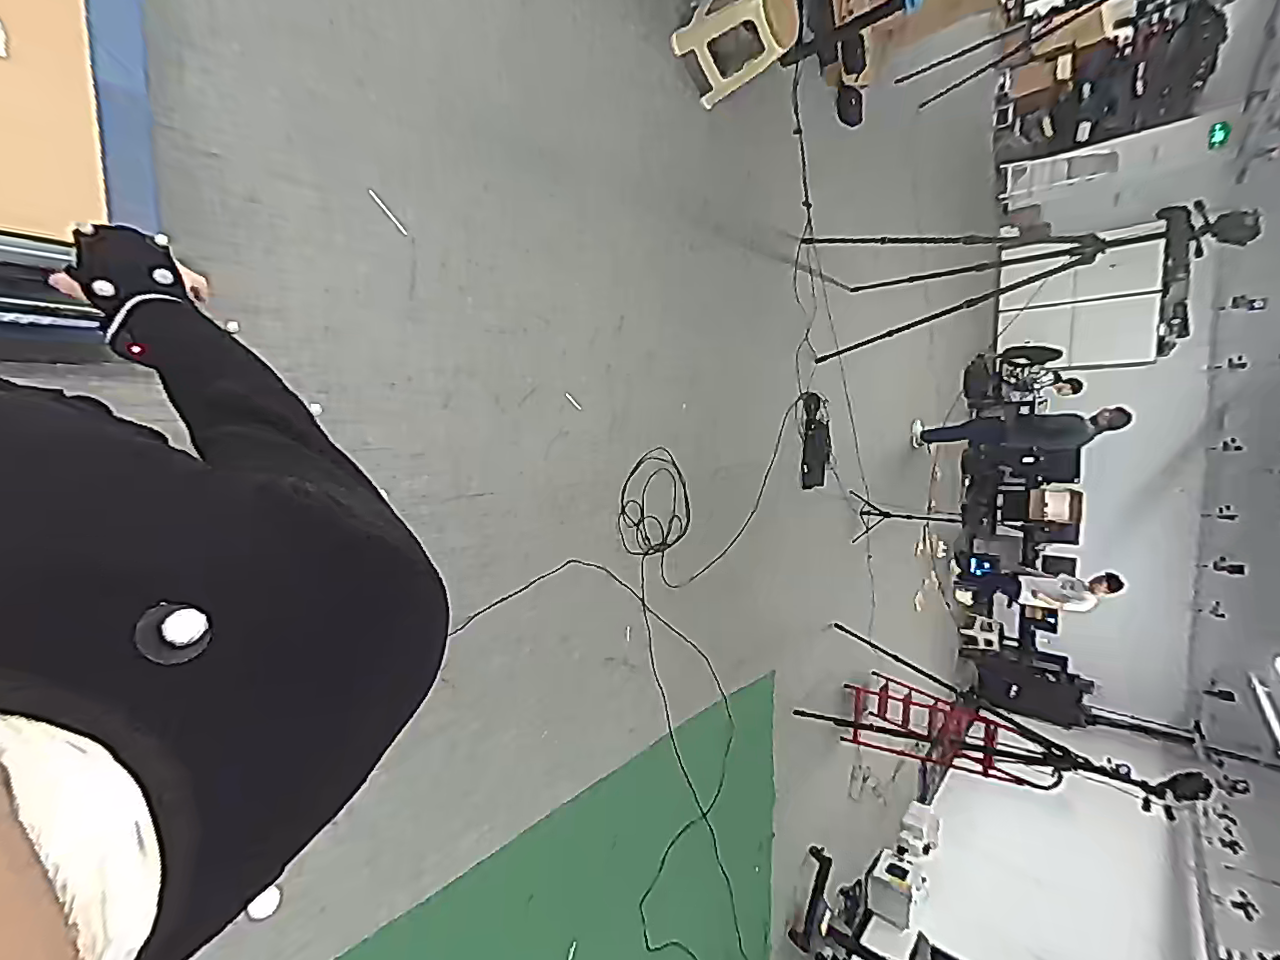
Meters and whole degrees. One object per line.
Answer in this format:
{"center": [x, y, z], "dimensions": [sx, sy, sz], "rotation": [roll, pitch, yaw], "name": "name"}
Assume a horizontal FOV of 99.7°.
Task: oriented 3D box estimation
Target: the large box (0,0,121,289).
{"center": [-1.034, -0.540, 0.817], "dimensions": [0.320, 0.320, 0.408], "rotation": [-8, 97, -47], "name": "large box"}
